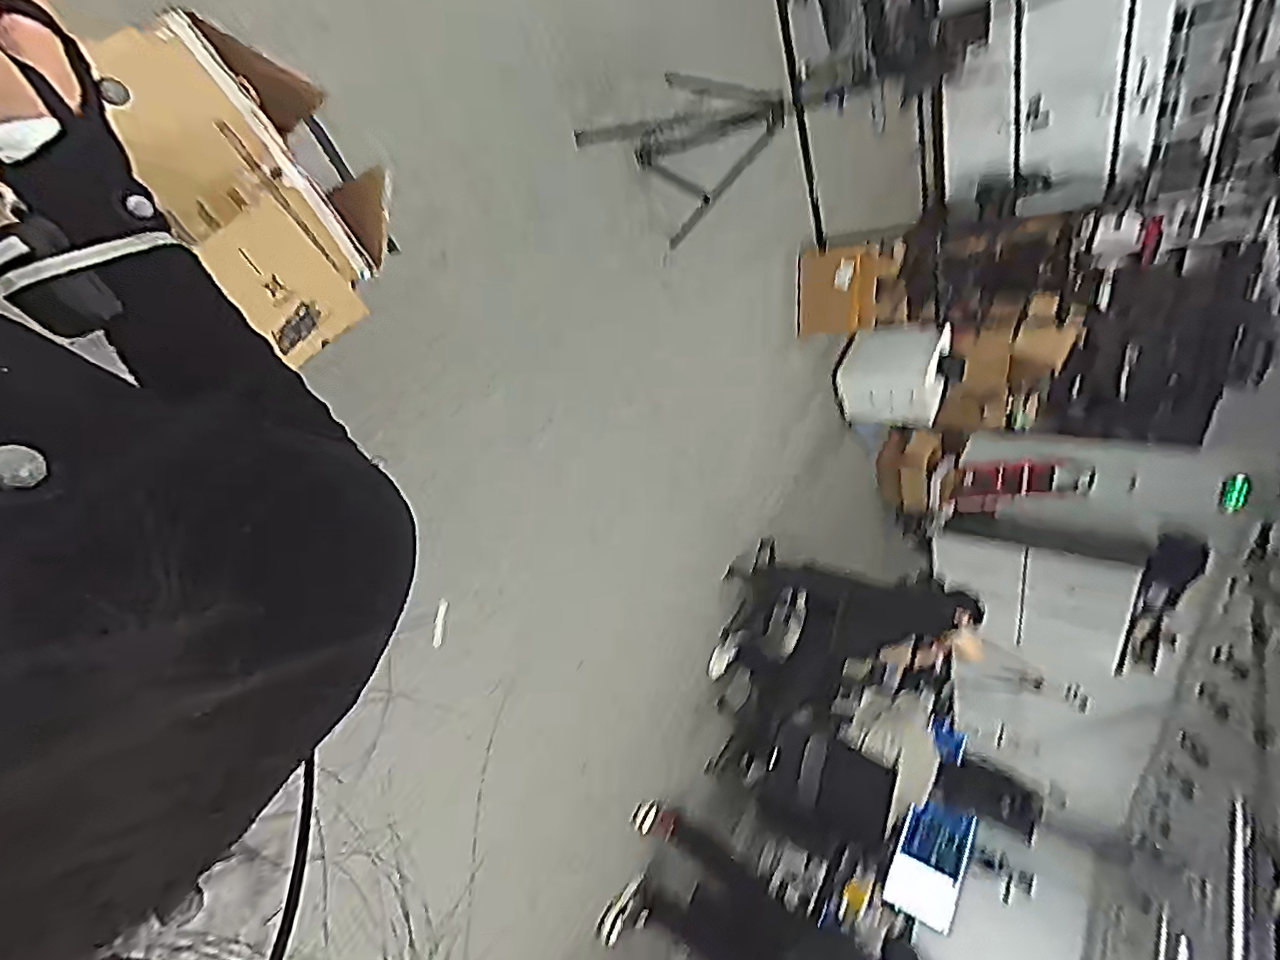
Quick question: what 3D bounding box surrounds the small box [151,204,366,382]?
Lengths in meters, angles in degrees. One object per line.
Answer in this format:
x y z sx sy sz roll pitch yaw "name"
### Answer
-0.548 -0.266 0.784 0.168 0.176 0.179 -53 133 -25 "small box"
